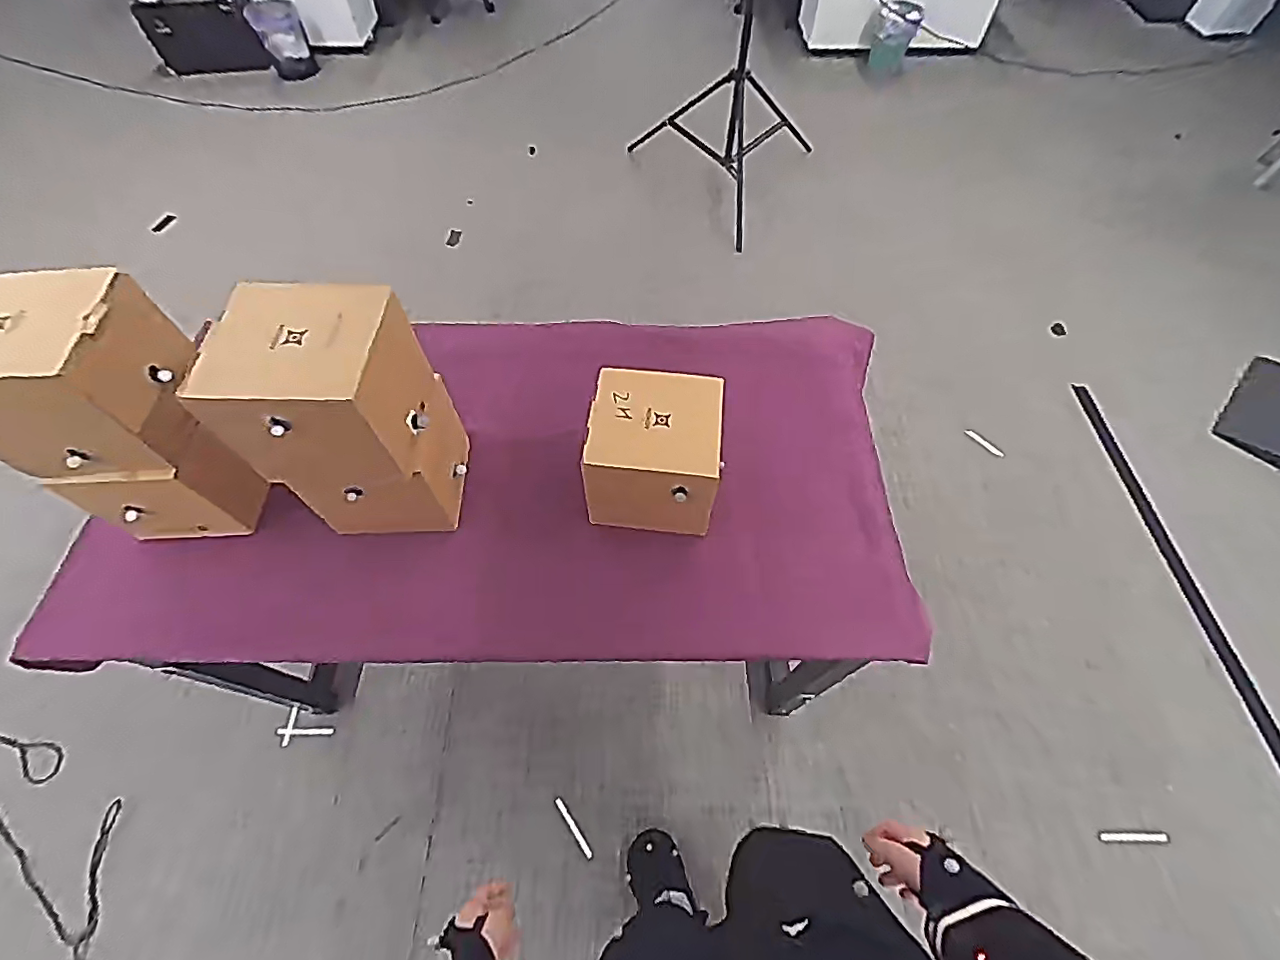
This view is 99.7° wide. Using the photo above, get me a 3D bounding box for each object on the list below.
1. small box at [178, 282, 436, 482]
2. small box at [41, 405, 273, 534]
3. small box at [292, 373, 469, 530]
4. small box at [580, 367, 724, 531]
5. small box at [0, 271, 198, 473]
[{"bbox_3d":[-0.364,-0.108,0.633,0.179,0.176,0.168,1,60,-1],"label":"small box"},{"bbox_3d":[-0.659,-0.031,0.775,0.168,0.176,0.179,-3,59,-2],"label":"small box"},{"bbox_3d":[-0.364,-0.036,0.779,0.179,0.176,0.168,-1,59,-2],"label":"small box"},{"bbox_3d":[0.019,-0.038,0.781,0.179,0.176,0.168,6,58,4],"label":"small box"},{"bbox_3d":[-0.663,-0.121,0.638,0.179,0.176,0.168,-4,58,-4],"label":"small box"}]
